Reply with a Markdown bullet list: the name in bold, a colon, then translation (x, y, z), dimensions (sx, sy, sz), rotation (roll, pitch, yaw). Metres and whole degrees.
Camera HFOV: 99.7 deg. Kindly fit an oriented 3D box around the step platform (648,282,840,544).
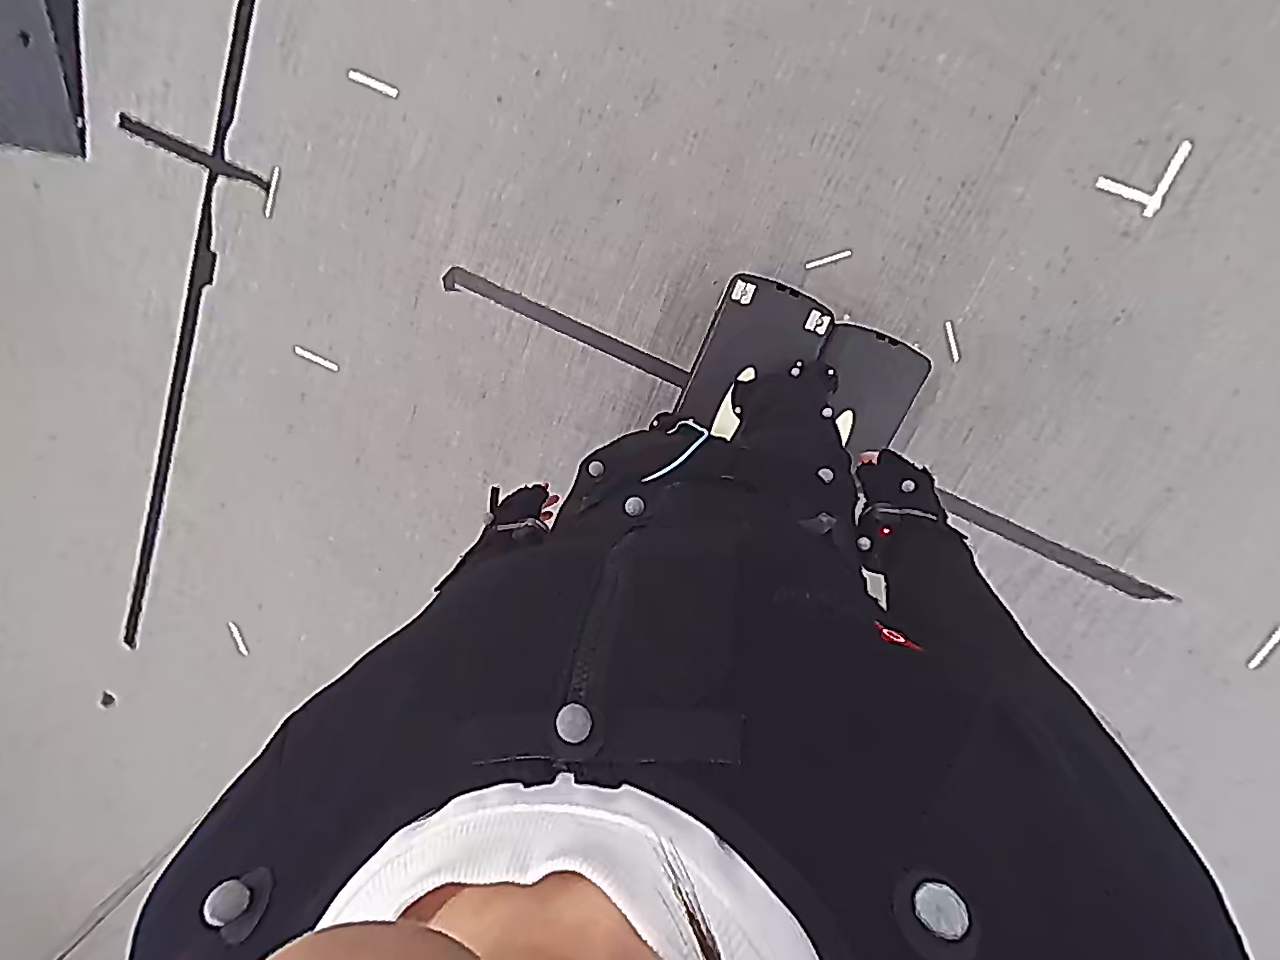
- **step platform**: translation (0.266, -0.172, 1.474), dimensions (0.286, 0.204, 0.684), rotation (23, 103, 2)
